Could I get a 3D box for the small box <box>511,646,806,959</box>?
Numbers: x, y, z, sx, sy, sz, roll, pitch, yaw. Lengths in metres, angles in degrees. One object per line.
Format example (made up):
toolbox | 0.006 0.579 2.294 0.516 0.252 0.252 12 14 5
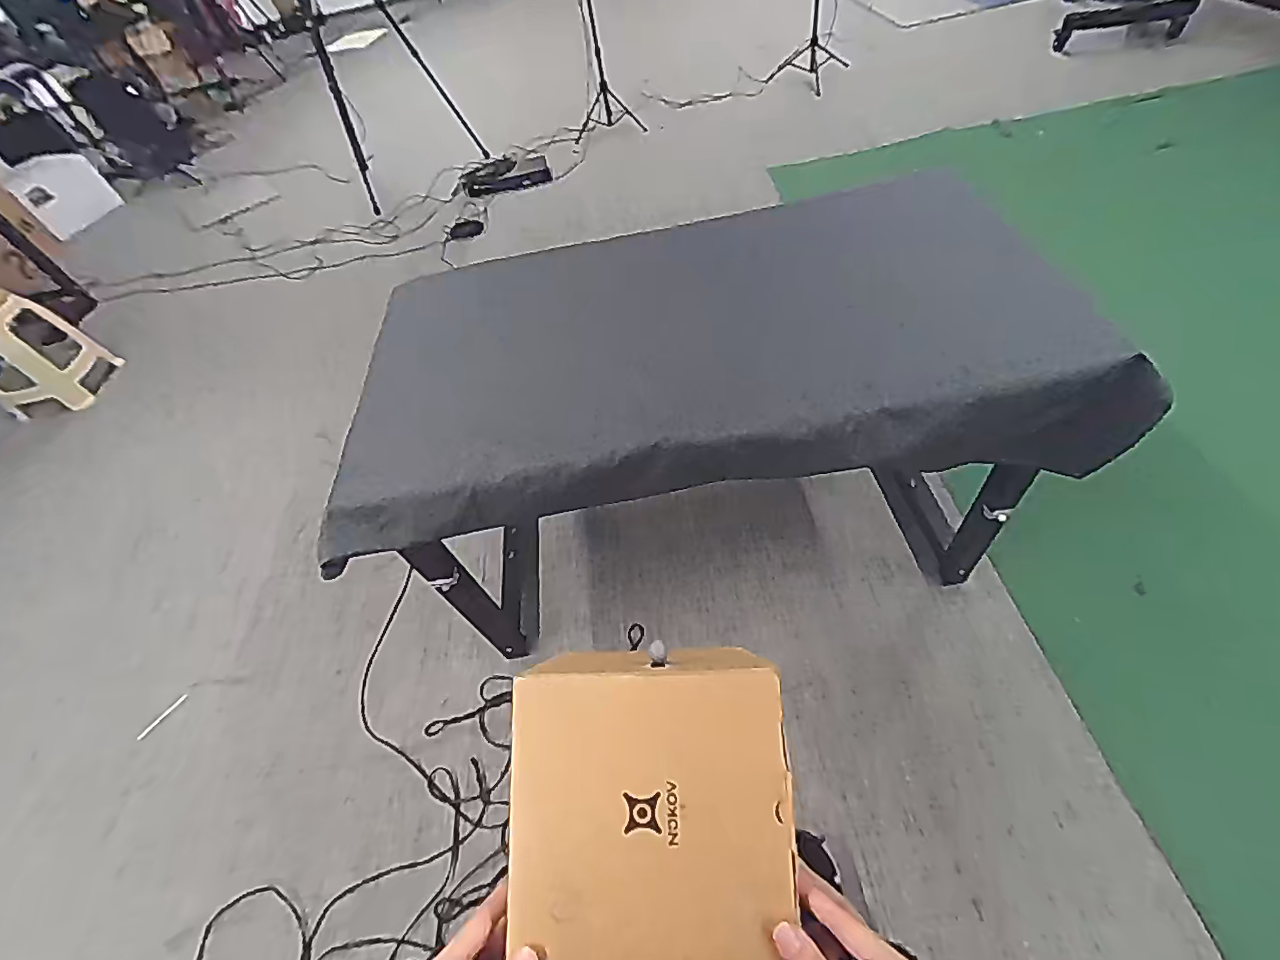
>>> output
small box | 0.012 0.219 0.411 0.179 0.176 0.168 -2 76 1
